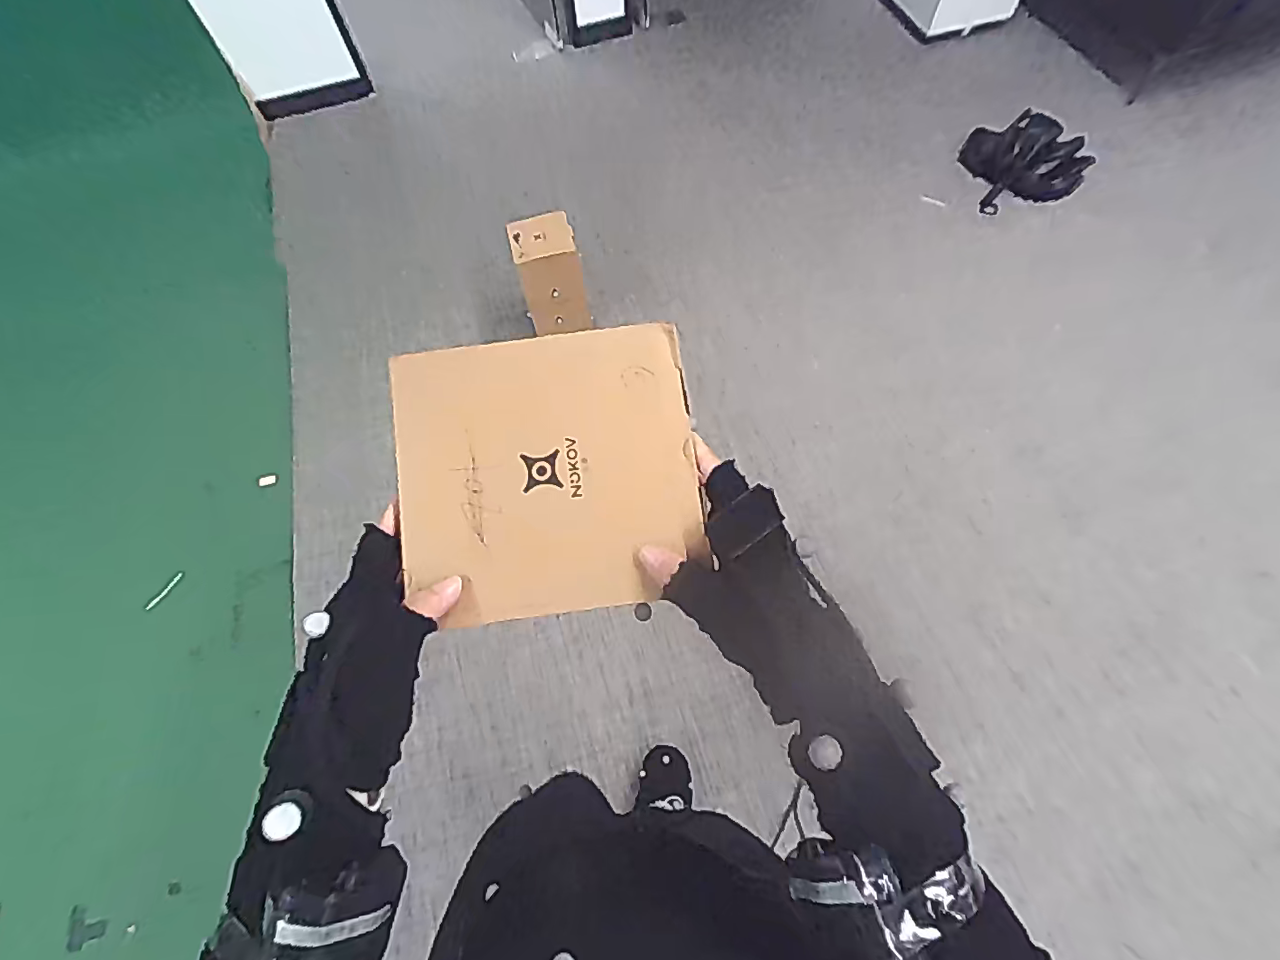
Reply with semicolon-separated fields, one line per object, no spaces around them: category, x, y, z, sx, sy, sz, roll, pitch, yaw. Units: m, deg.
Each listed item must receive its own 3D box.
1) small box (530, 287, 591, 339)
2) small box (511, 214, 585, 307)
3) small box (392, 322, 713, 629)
small box;-0.256;-0.569;1.725;0.179;0.176;0.168;-12;63;-2
small box;-0.263;-0.635;1.578;0.179;0.176;0.168;-14;65;-3
small box;-0.054;0.007;0.400;0.179;0.176;0.168;-10;79;0
